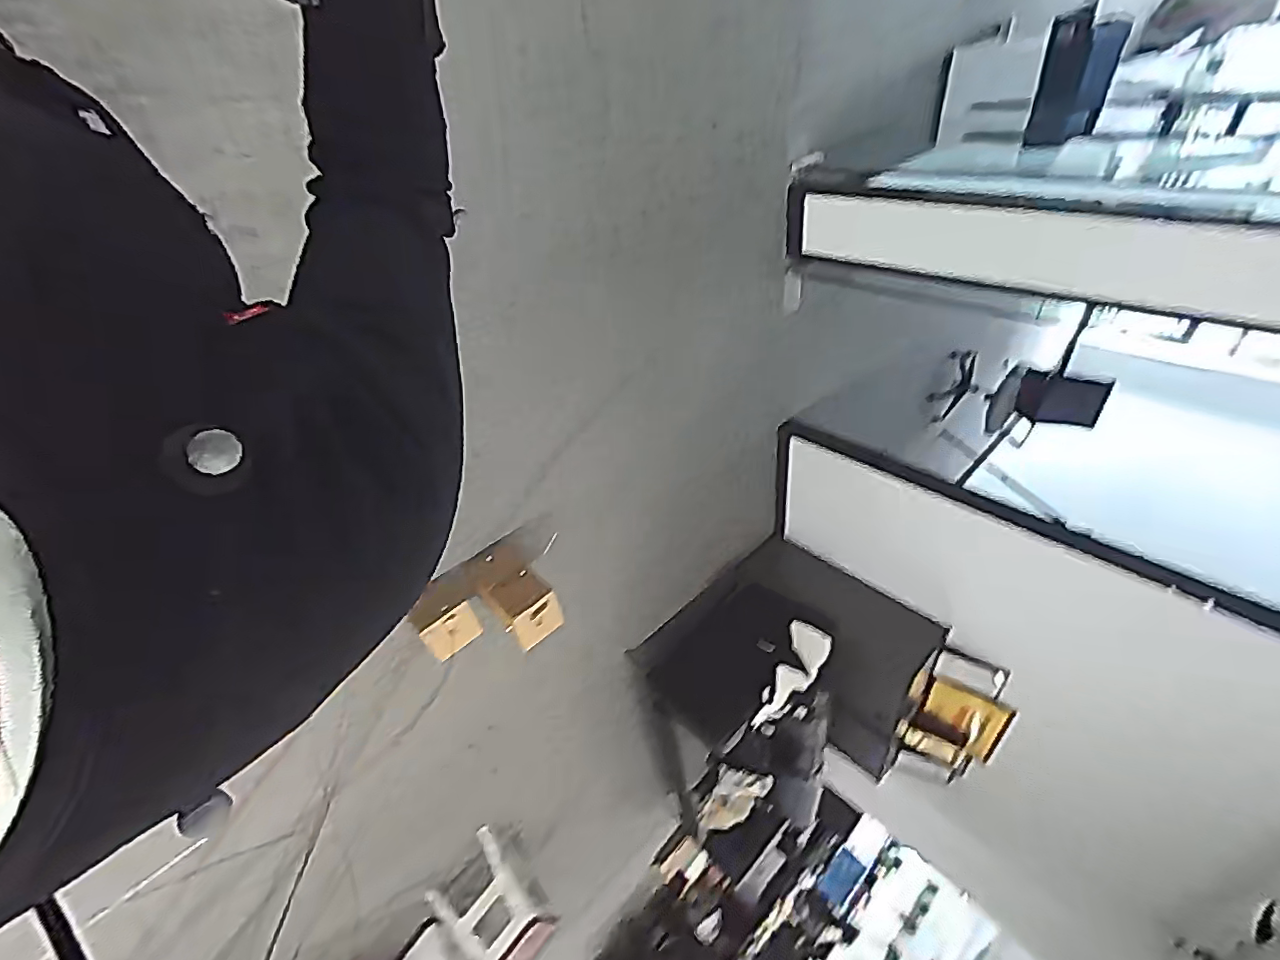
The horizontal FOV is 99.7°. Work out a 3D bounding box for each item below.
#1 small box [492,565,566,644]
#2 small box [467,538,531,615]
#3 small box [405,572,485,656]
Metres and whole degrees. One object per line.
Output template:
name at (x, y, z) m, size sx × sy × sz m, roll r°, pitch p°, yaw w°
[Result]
small box at (-0.378, 0.412, 1.835) m, size 0.168 × 0.176 × 0.179 m, roll -35°, pitch 136°, yaw -27°
small box at (-0.489, 0.340, 1.932) m, size 0.168 × 0.176 × 0.179 m, roll -34°, pitch 135°, yaw -28°
small box at (-0.655, 0.446, 1.821) m, size 0.168 × 0.176 × 0.179 m, roll -36°, pitch 137°, yaw -27°
